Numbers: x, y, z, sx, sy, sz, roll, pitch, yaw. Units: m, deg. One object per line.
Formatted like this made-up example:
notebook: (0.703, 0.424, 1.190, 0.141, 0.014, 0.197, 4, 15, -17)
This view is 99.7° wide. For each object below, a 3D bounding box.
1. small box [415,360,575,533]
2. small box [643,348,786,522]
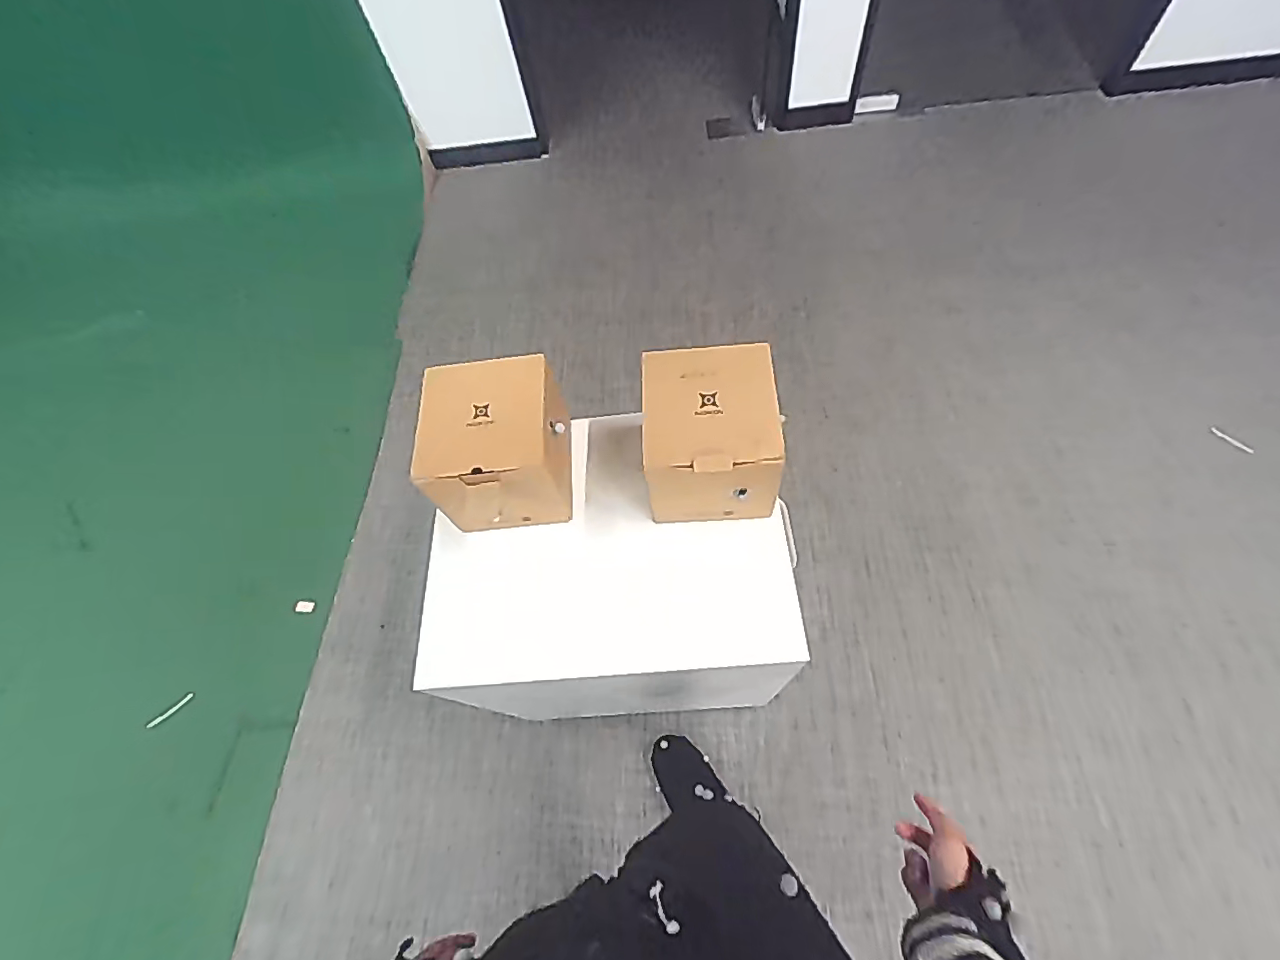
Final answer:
small box: (-0.188, -0.041, 0.756, 0.168, 0.176, 0.179, -6, 63, 3)
small box: (0.095, -0.050, 0.725, 0.168, 0.176, 0.179, -3, 62, 5)
